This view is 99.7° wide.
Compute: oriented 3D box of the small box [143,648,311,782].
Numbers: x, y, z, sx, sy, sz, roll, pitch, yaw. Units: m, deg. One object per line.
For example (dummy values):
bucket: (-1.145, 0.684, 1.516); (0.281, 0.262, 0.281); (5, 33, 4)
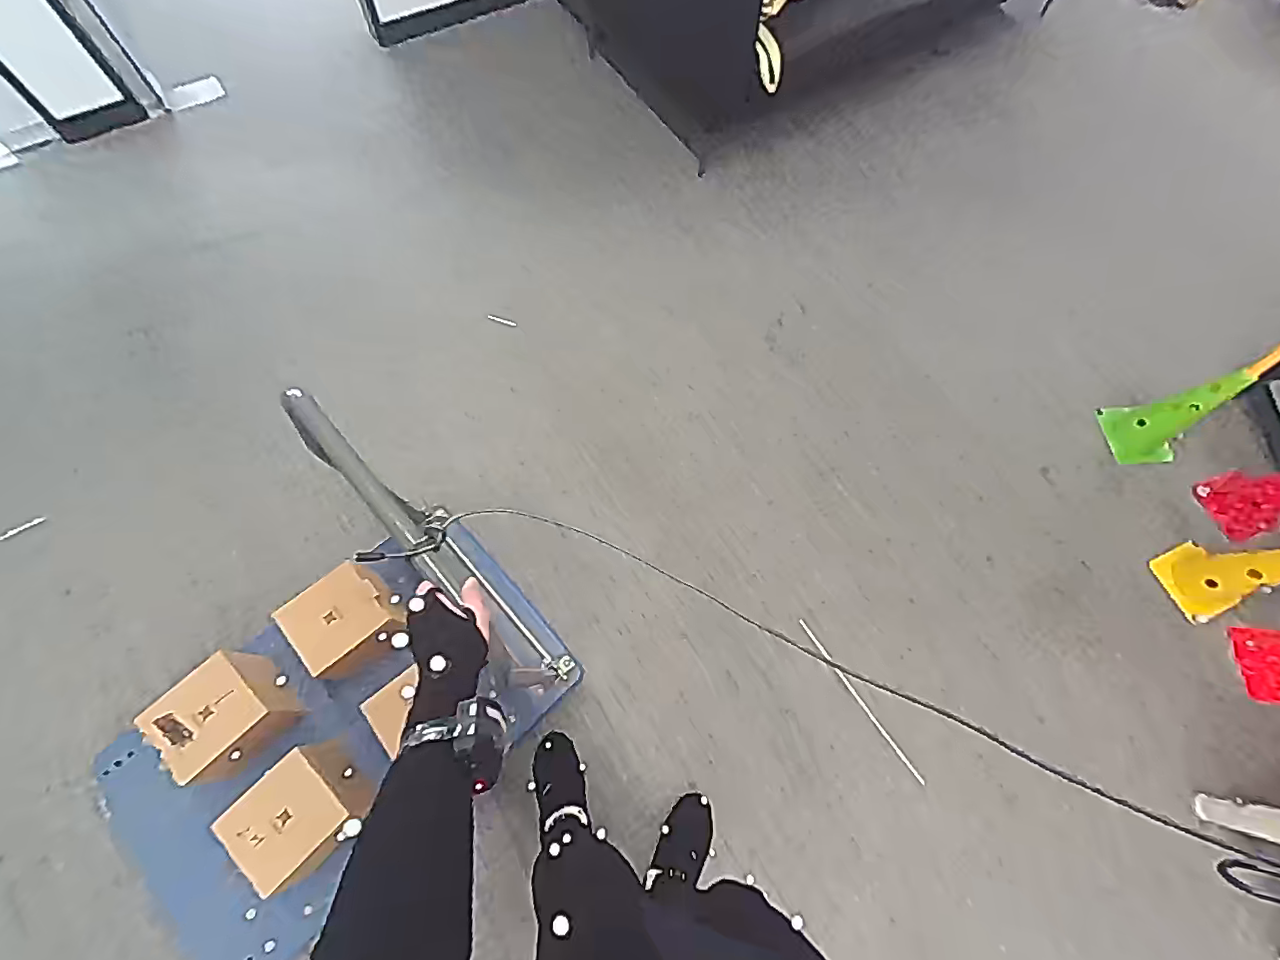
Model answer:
small box: (-0.821, 0.468, 1.093); (0.168, 0.176, 0.179); (43, 71, 12)

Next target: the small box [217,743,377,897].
small box: (-0.639, 0.634, 1.039); (0.168, 0.176, 0.179); (42, 71, 13)

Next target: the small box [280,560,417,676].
small box: (-0.622, 0.306, 1.175); (0.179, 0.176, 0.168); (-38, 75, -17)
